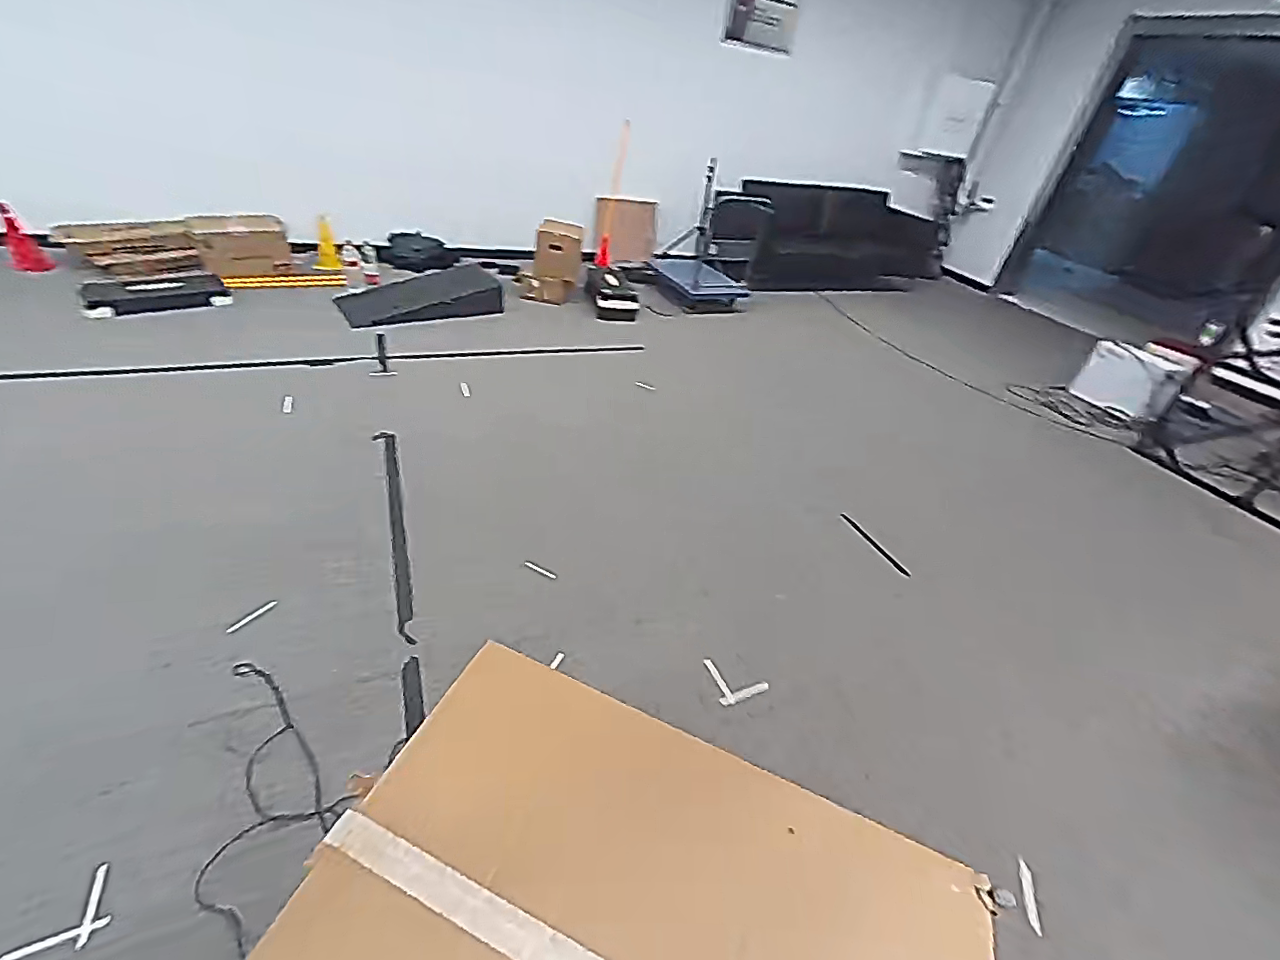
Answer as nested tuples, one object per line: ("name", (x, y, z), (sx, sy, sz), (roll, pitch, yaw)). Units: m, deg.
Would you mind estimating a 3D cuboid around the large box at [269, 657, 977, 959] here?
("large box", (-0.024, 0.410, 0.409), (0.408, 0.320, 0.320), (20, 43, 12))
